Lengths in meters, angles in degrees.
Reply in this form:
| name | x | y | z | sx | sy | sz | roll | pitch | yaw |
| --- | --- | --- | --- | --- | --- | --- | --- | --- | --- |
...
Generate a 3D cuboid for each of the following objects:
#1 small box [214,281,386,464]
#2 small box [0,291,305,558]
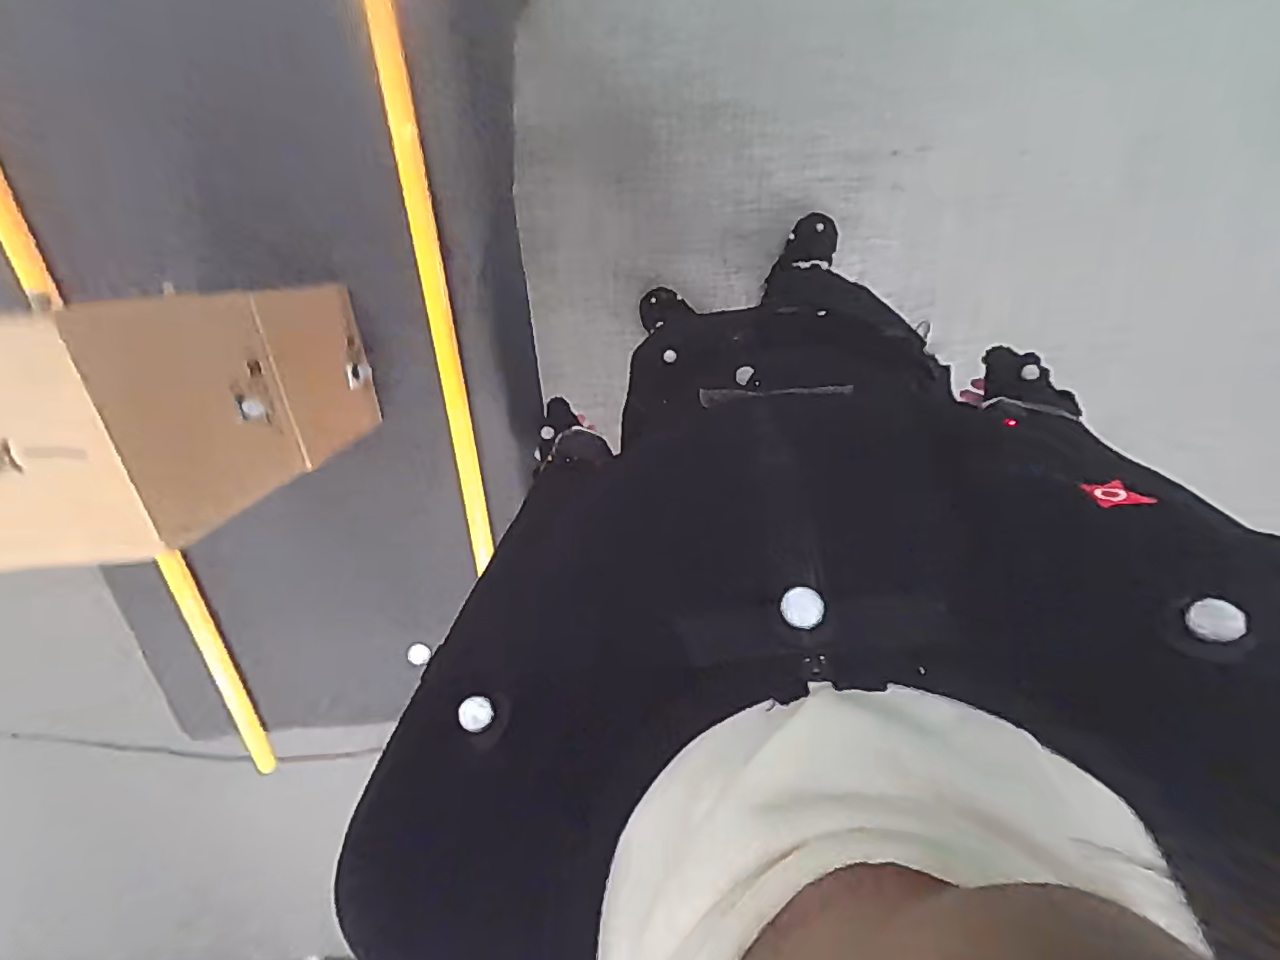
| name | x | y | z | sx | sy | sz | roll | pitch | yaw |
| --- | --- | --- | --- | --- | --- | --- | --- | --- | --- |
| small box | -0.411 | -0.116 | 0.581 | 0.179 | 0.176 | 0.168 | -6 | 113 | 3 |
| small box | -0.417 | -0.053 | 0.429 | 0.179 | 0.176 | 0.168 | -4 | 113 | 3 |
